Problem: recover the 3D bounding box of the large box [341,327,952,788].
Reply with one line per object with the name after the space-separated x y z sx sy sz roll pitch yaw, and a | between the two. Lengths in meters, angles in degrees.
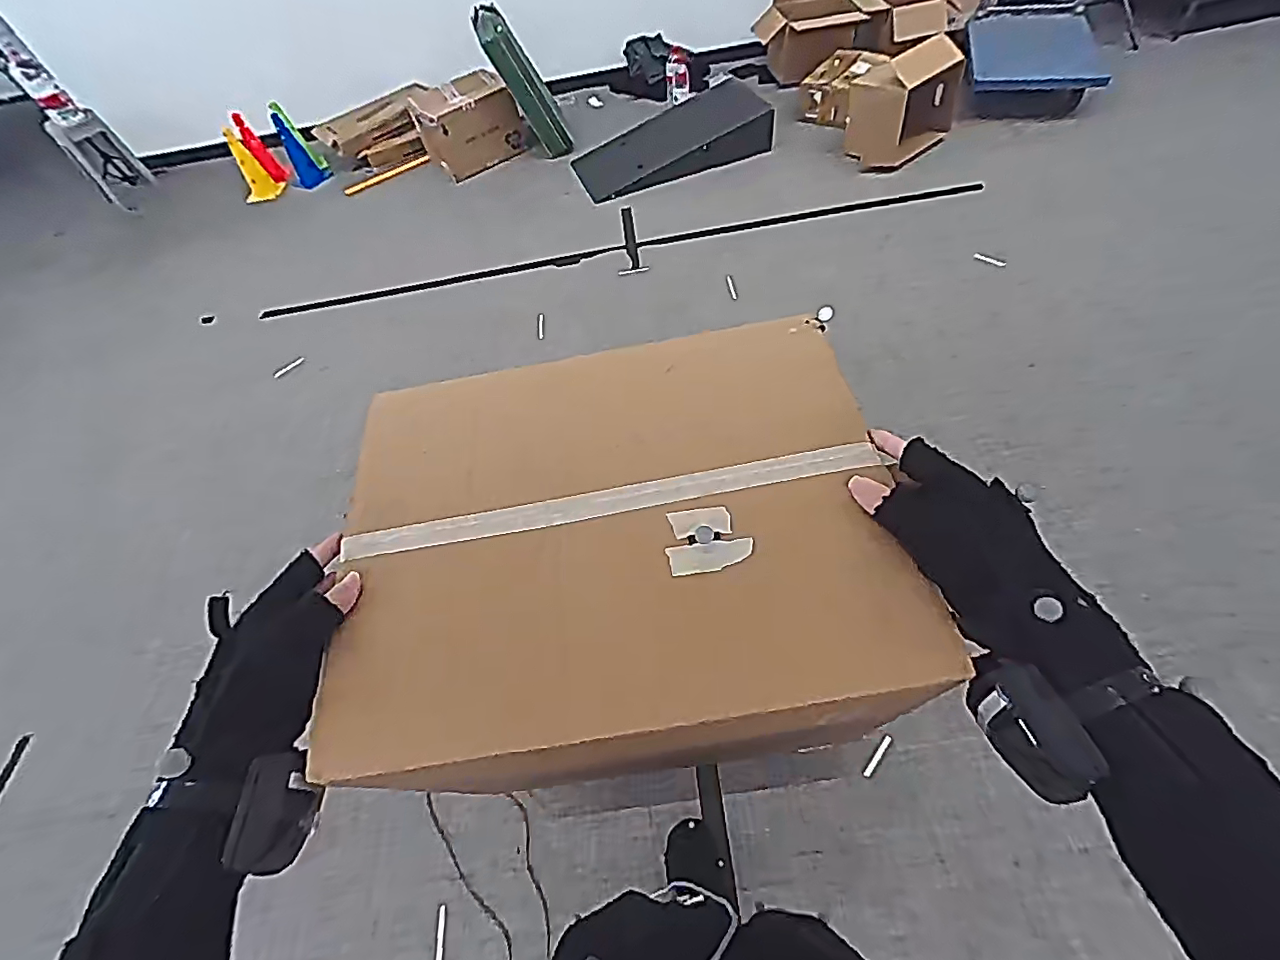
-0.003 0.099 0.544 0.408 0.320 0.320 -10 59 2 | large box
